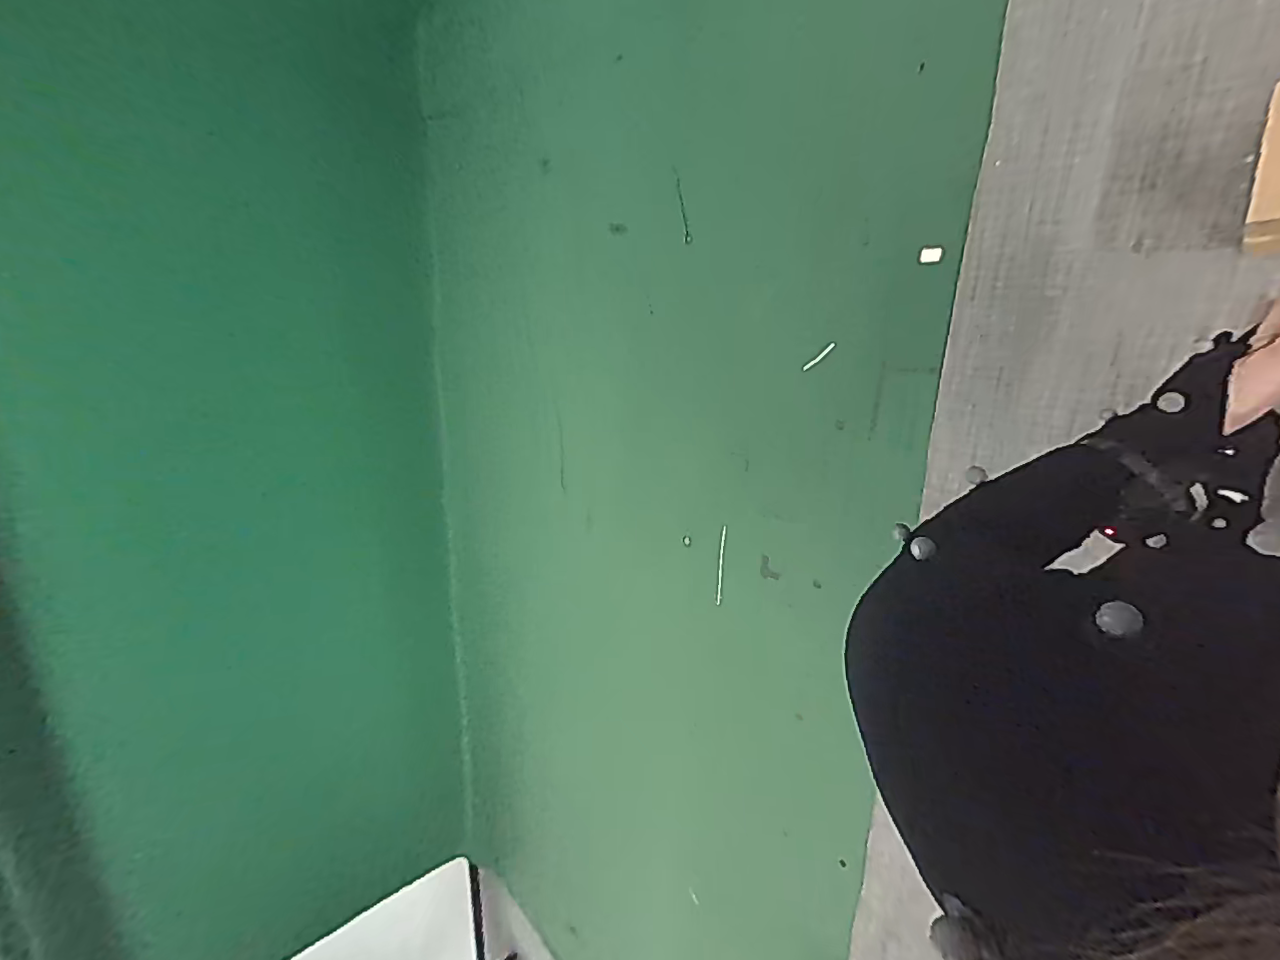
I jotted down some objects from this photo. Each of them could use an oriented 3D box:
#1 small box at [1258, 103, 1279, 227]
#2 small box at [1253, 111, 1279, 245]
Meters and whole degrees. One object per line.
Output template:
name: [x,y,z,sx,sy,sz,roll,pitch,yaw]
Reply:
small box: [0.940,-0.447,0.700,0.168,0.176,0.179,12,108,48]
small box: [1.058,-0.469,0.810,0.168,0.176,0.179,12,107,48]
